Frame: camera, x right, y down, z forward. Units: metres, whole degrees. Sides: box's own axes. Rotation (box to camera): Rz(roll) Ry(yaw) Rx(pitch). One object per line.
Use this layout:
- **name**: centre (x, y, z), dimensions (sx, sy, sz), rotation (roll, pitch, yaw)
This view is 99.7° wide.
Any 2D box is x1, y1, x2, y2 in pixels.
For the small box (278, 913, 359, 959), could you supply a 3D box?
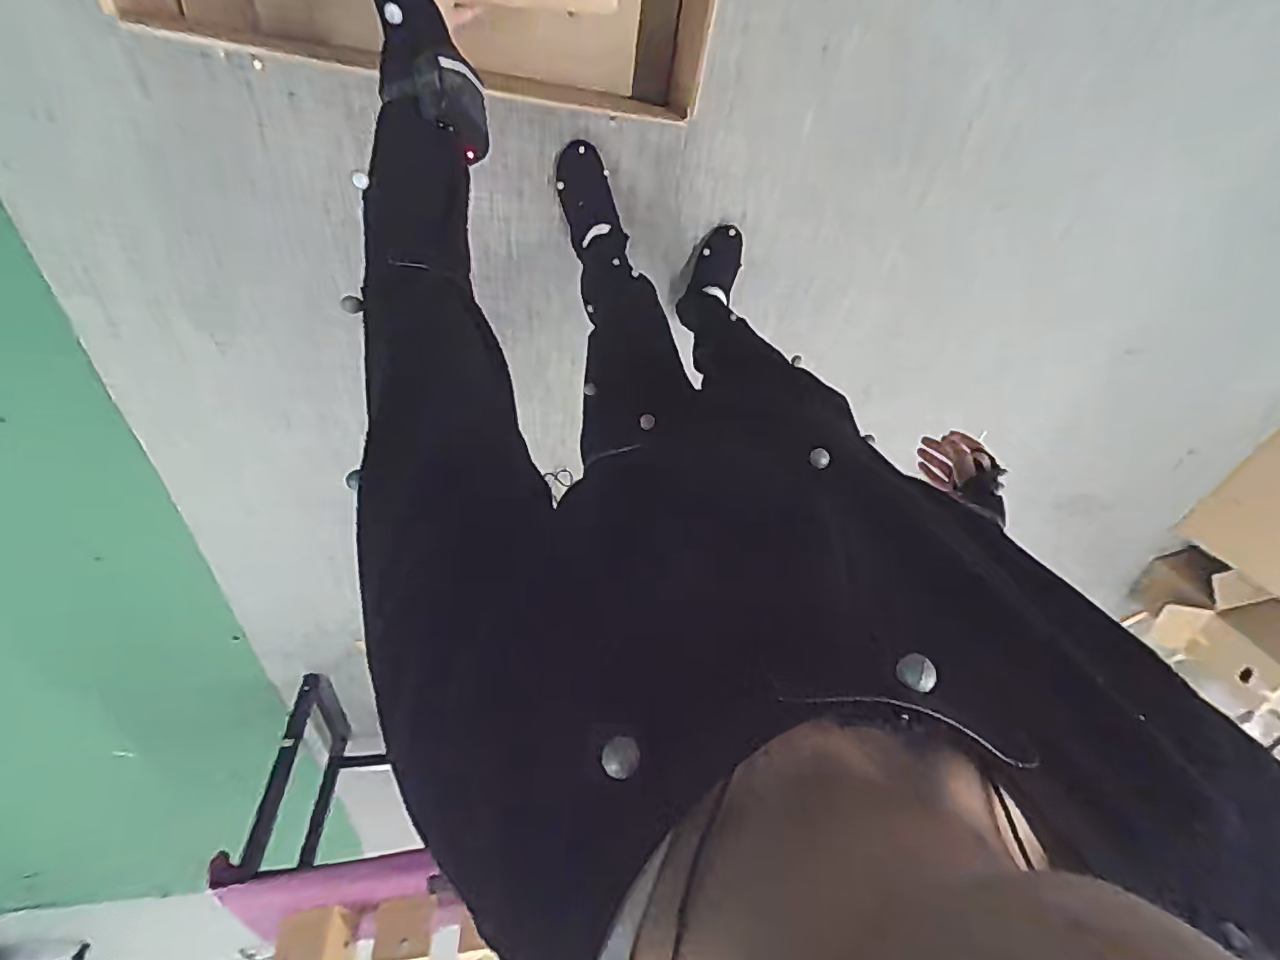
- **small box**: centre (-1.004, 1.482, 1.684), dimensions (0.179, 0.176, 0.168), rotation (-15, 130, 2)

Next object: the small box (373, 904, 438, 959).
- **small box**: centre (-0.752, 1.497, 1.742), dimensions (0.179, 0.176, 0.168), rotation (5, 127, -14)
